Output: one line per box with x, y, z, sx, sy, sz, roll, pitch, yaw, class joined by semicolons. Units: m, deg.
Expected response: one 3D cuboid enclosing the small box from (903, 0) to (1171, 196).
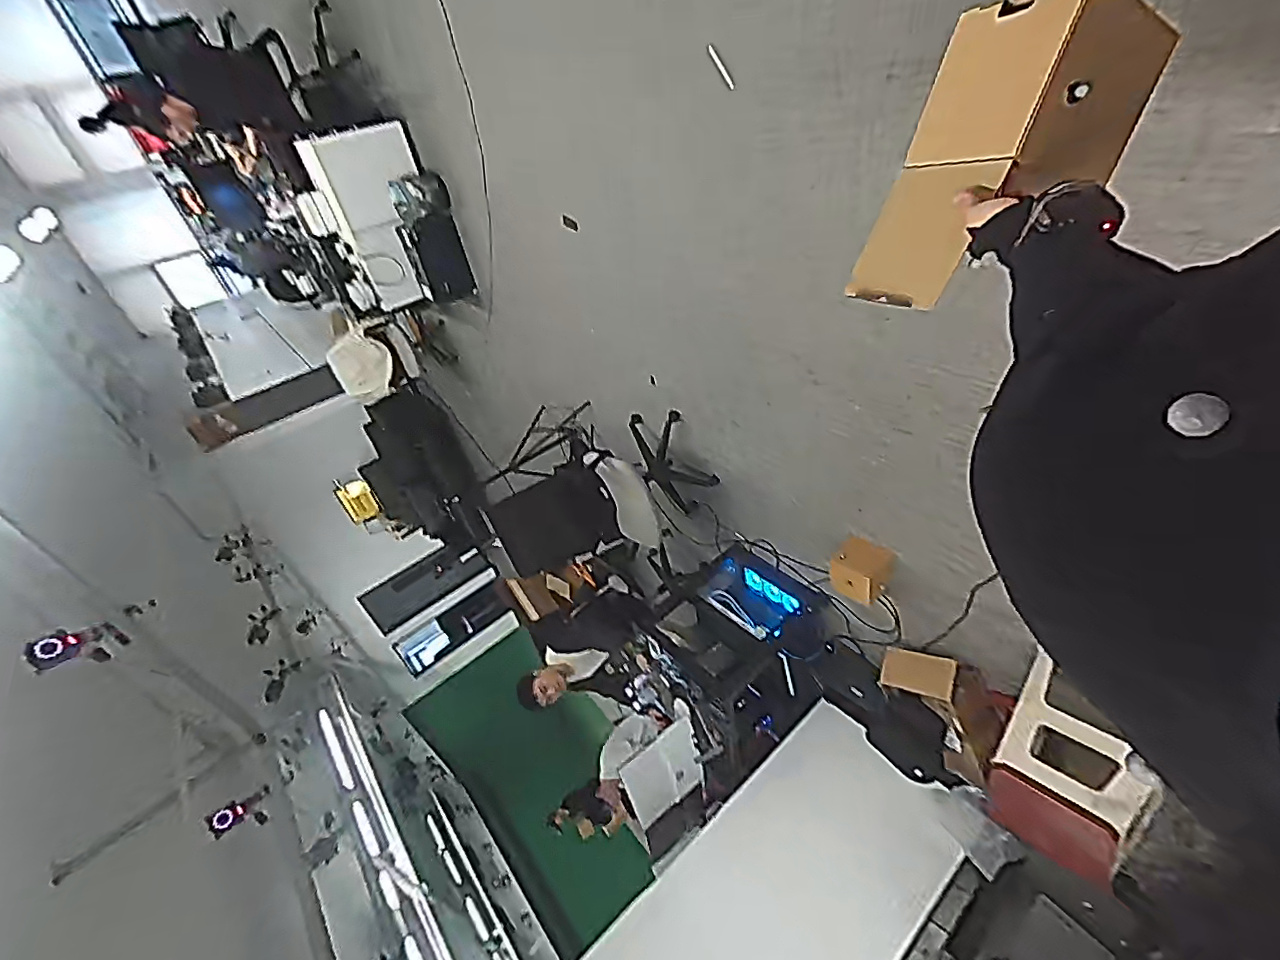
0.467;-0.454;0.649;0.168;0.176;0.179;-129;50;-57;small box
